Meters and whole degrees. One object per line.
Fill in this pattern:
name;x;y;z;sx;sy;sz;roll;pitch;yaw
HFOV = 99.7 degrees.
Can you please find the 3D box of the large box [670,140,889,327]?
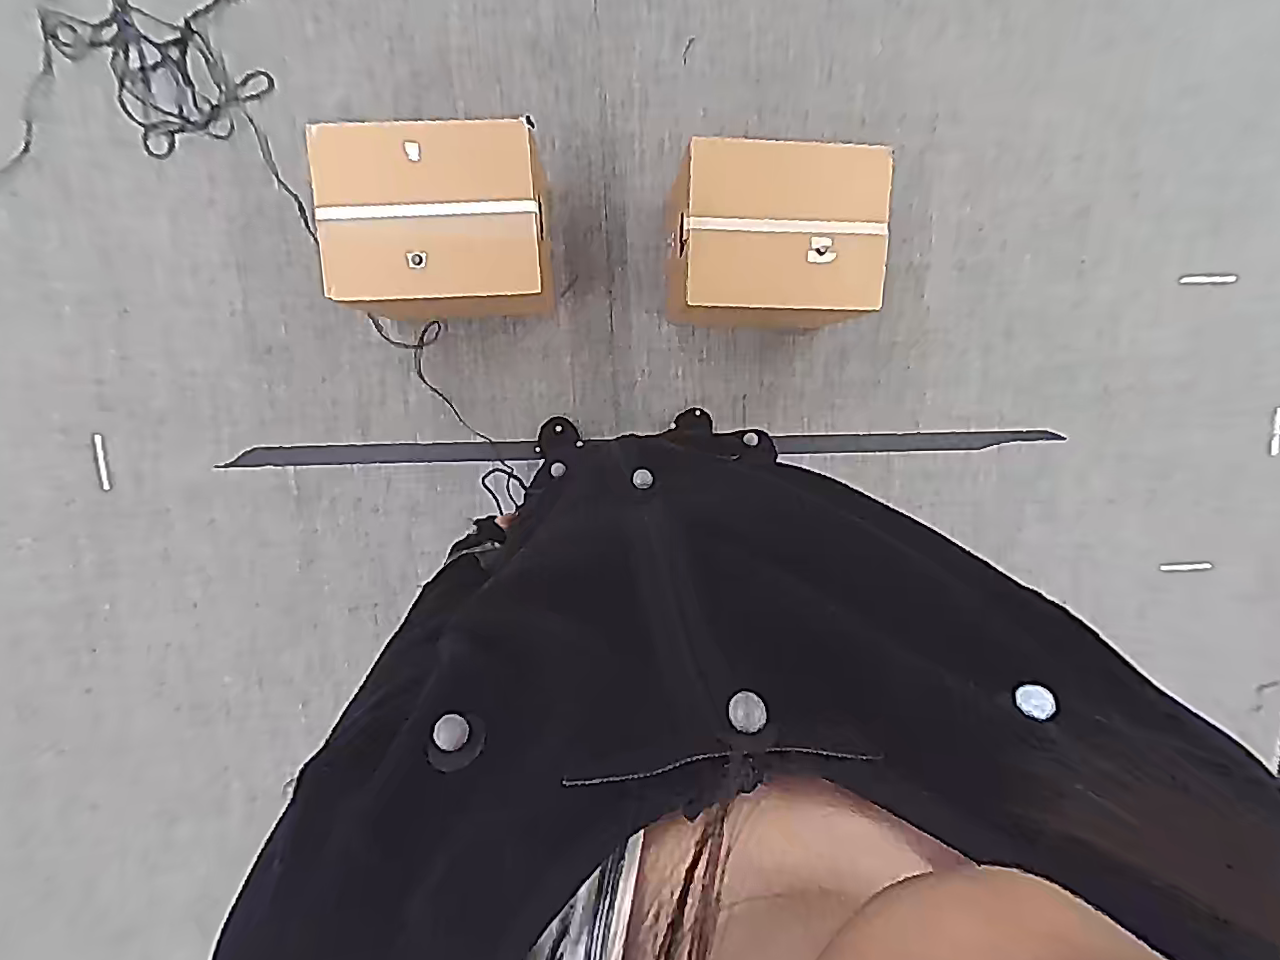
large box;0.283;-0.526;1.223;0.408;0.320;0.320;0;99;-5
